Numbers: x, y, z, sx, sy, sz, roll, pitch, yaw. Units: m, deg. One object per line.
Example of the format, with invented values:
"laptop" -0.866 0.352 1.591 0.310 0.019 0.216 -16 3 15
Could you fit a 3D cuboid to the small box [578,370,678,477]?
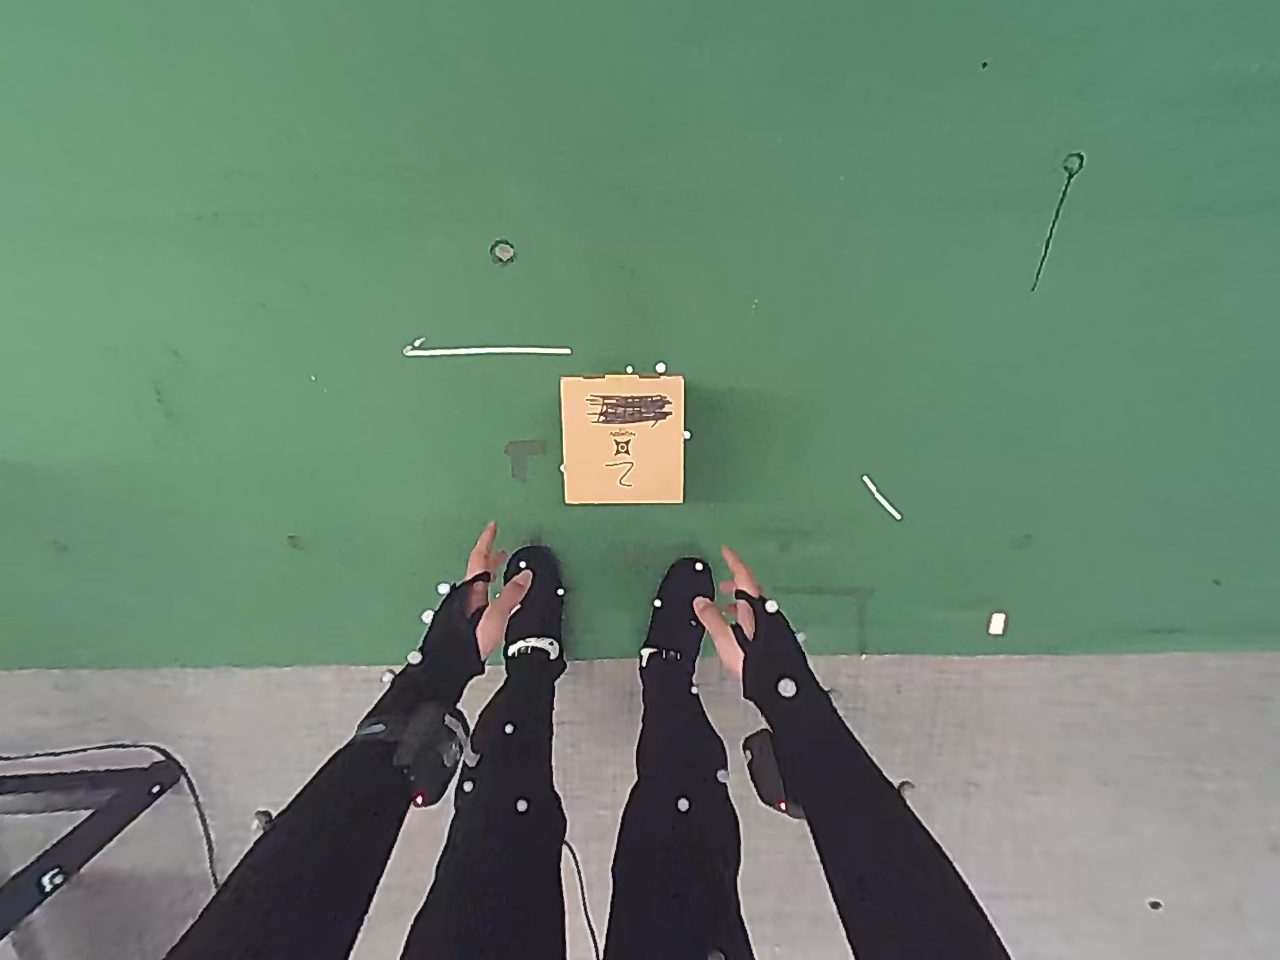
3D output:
"small box" -0.020 -0.107 0.966 0.168 0.176 0.179 1 102 1
